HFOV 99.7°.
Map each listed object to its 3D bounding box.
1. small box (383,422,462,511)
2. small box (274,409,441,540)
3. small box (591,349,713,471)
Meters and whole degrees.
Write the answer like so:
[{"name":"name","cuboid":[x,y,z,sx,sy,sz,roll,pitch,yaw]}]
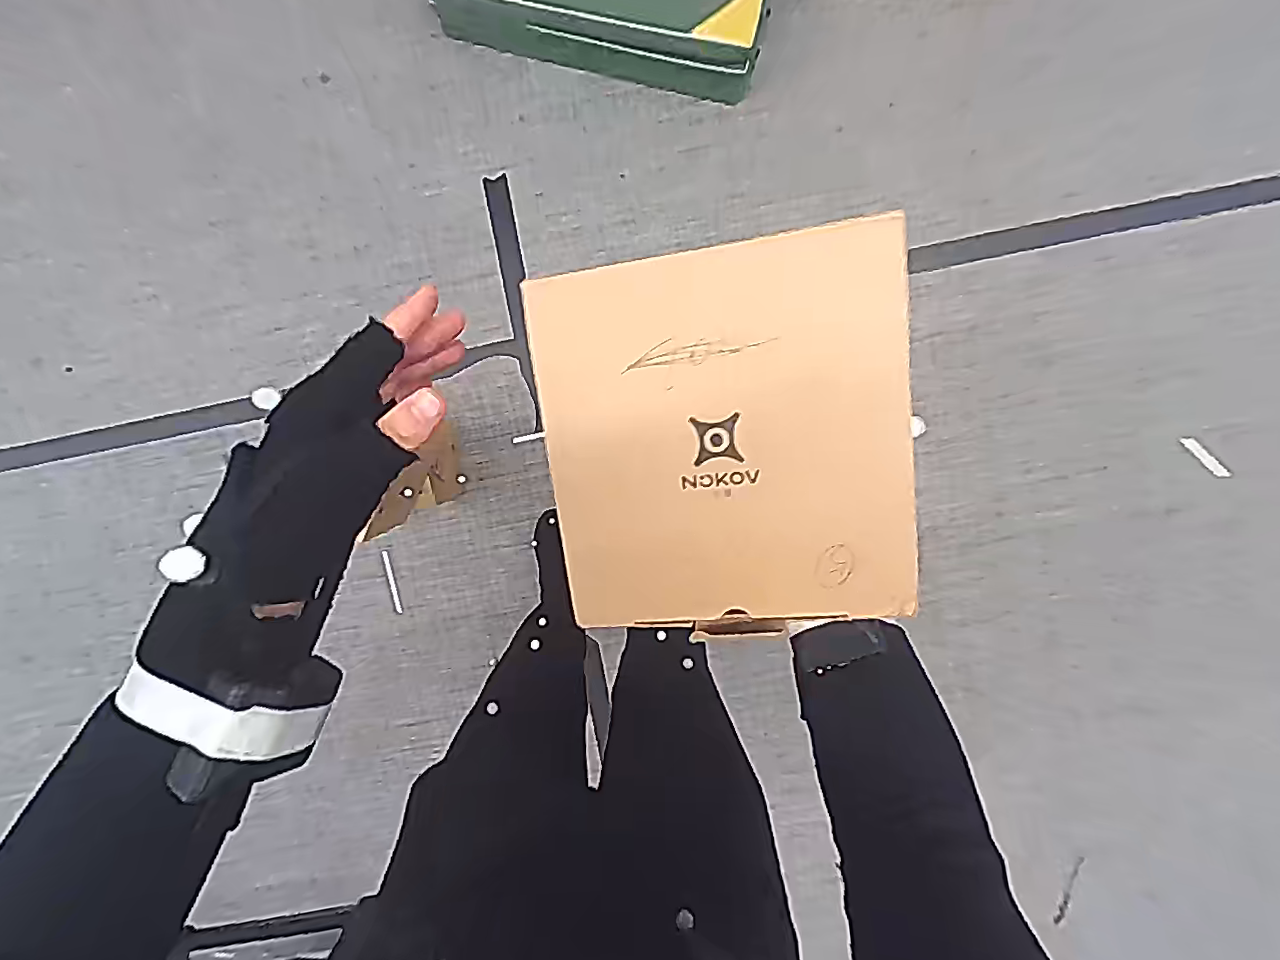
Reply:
[{"name":"small box","cuboid":[-0.487,-0.026,1.127,0.179,0.176,0.168,-8,98,3]},{"name":"small box","cuboid":[-0.493,-0.013,0.959,0.179,0.176,0.168,26,98,-2]},{"name":"small box","cuboid":[0.025,-0.142,1.099,0.179,0.176,0.168,-40,98,7]}]
